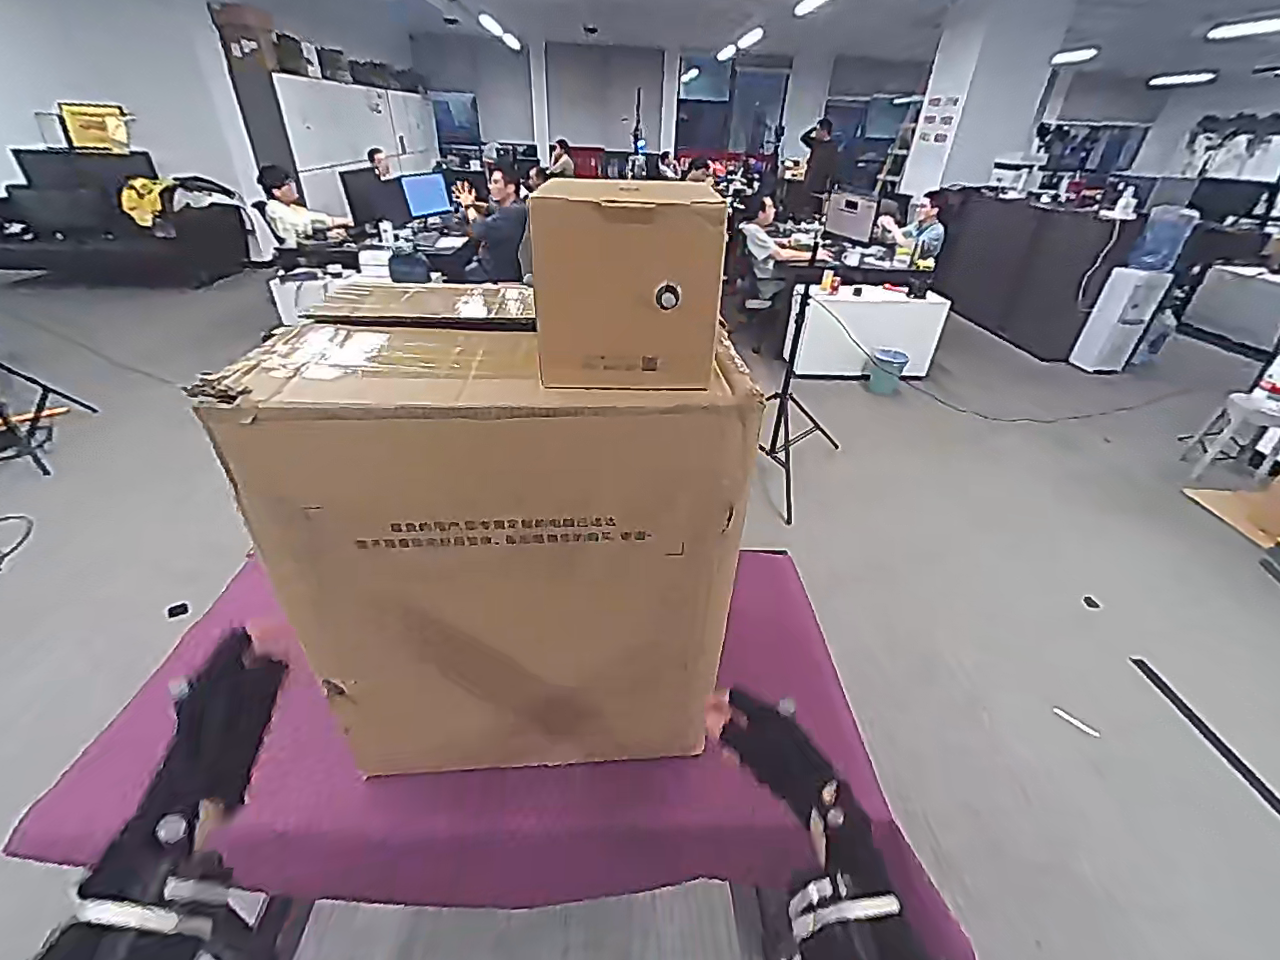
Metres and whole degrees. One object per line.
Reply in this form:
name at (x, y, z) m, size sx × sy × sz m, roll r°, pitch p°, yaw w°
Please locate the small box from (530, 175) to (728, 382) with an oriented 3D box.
small box at (-0.011, -0.207, 0.549) m, size 0.168 × 0.176 × 0.179 m, roll 1°, pitch 32°, yaw -2°
